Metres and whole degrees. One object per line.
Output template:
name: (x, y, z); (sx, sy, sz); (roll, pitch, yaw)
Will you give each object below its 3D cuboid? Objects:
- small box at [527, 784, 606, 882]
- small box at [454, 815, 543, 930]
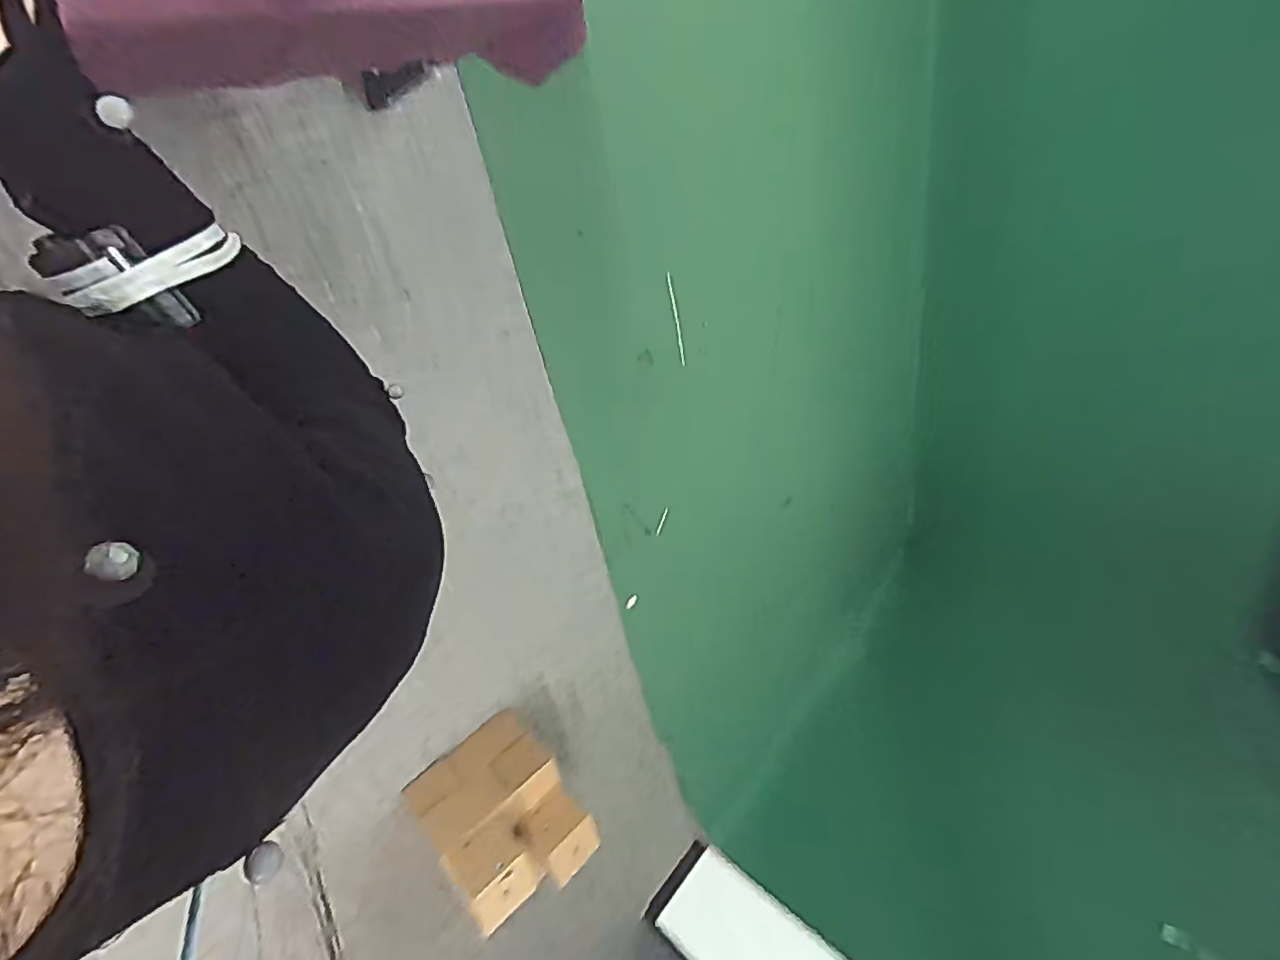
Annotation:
small box: (-0.238, 1.117, 1.730); (0.168, 0.176, 0.179); (-31, 125, -35)
small box: (-0.407, 1.115, 1.552); (0.168, 0.176, 0.179); (-29, 123, -36)
